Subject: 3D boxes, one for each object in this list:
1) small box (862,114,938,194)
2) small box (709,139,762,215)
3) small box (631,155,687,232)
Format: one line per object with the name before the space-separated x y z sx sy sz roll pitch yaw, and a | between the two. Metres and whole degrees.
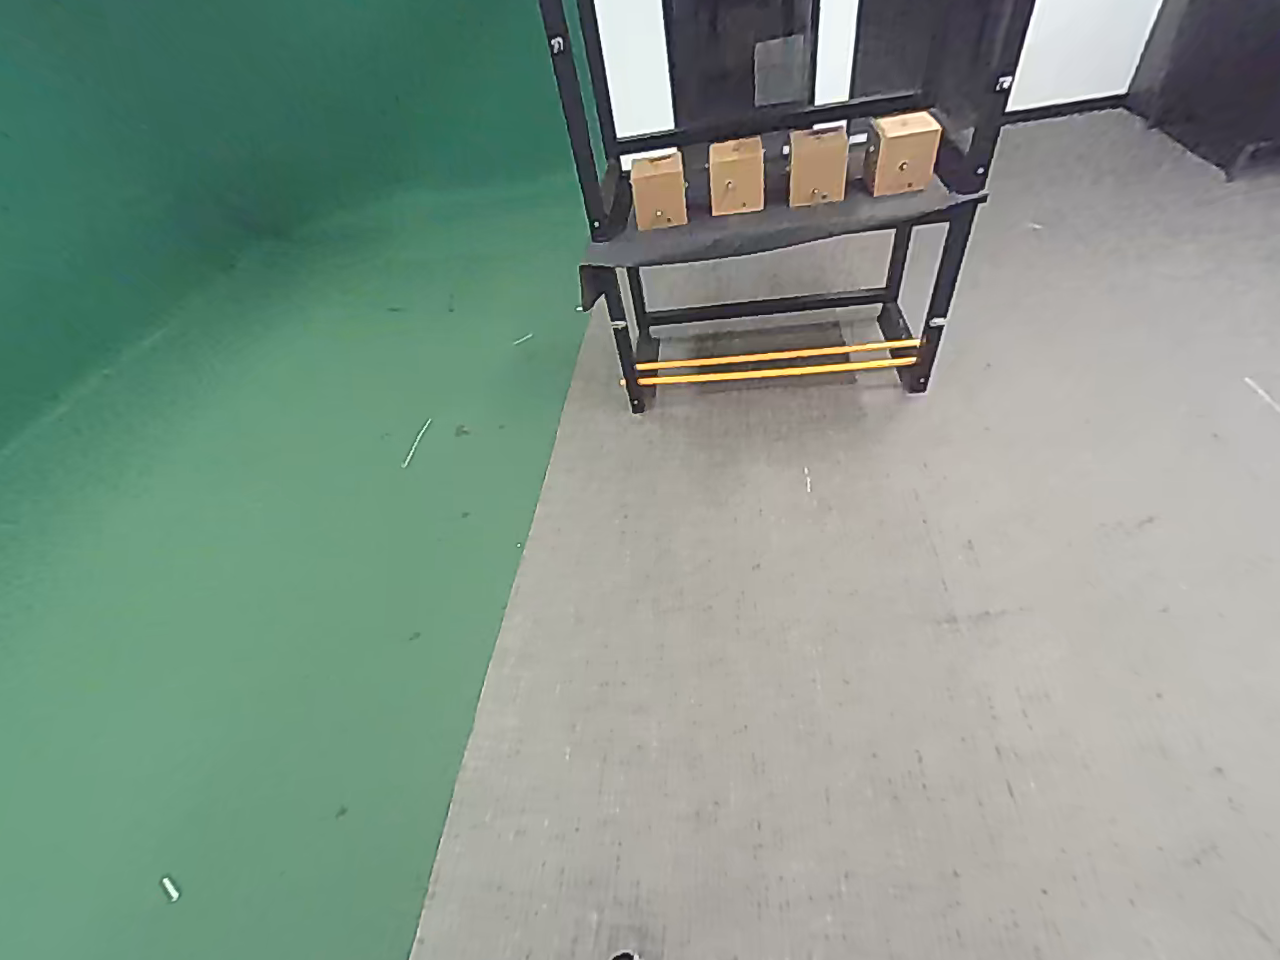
small box | 0.798 -1.003 1.676 0.168 0.176 0.179 -3 46 10
small box | 0.315 -0.988 1.777 0.168 0.176 0.179 -2 47 10
small box | 0.065 -0.951 1.795 0.168 0.176 0.179 -6 48 8
